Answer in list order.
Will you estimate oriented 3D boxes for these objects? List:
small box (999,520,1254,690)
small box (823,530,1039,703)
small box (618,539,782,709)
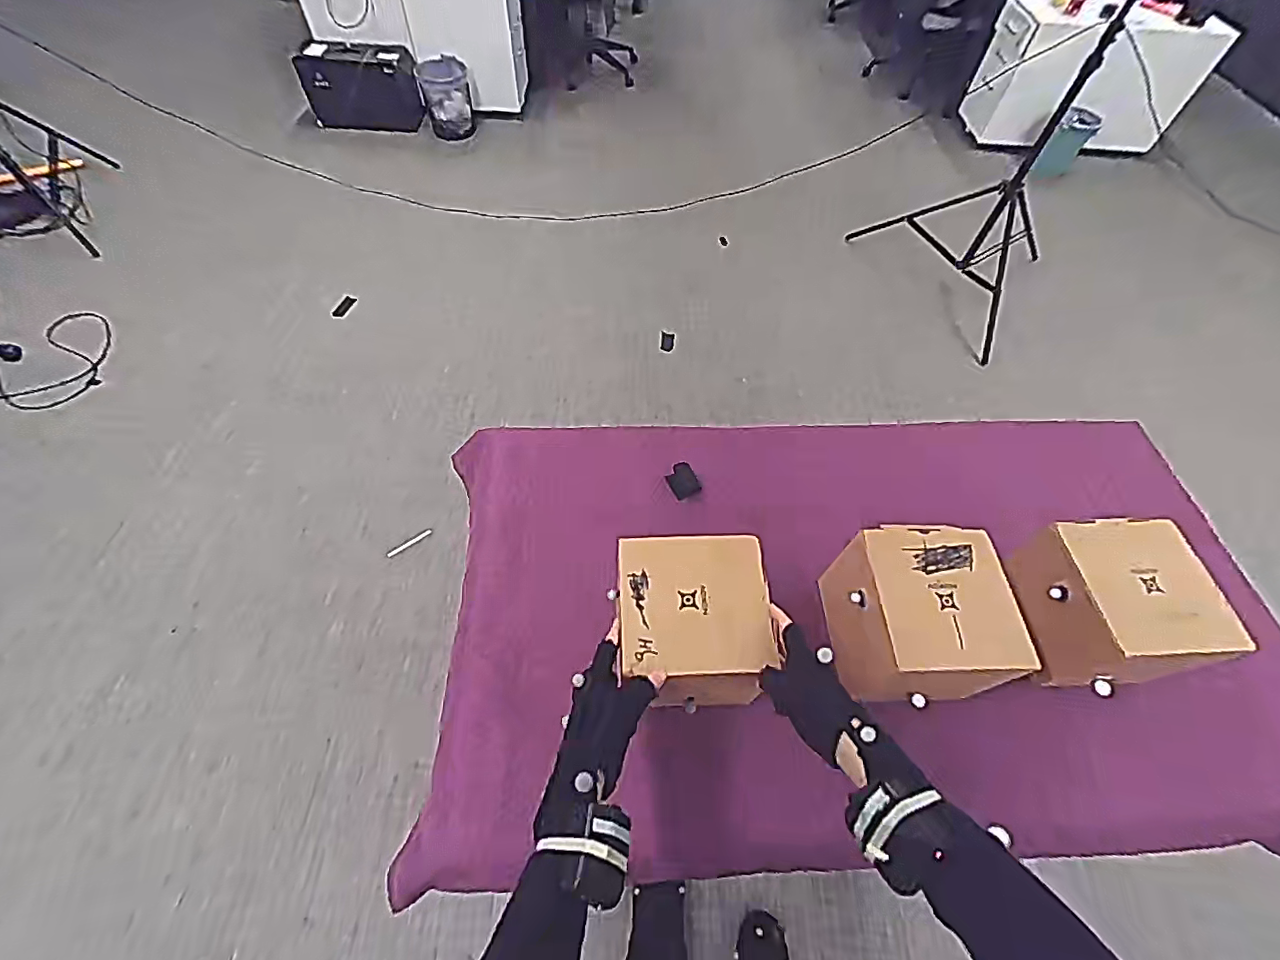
[{"bbox_3d":[0.622,0.171,0.732,0.168,0.176,0.179,-2,57,-3],"label":"small box"},{"bbox_3d":[0.356,0.182,0.708,0.168,0.176,0.179,0,57,-3],"label":"small box"},{"bbox_3d":[0.062,0.187,0.686,0.179,0.176,0.168,0,56,-3],"label":"small box"}]
